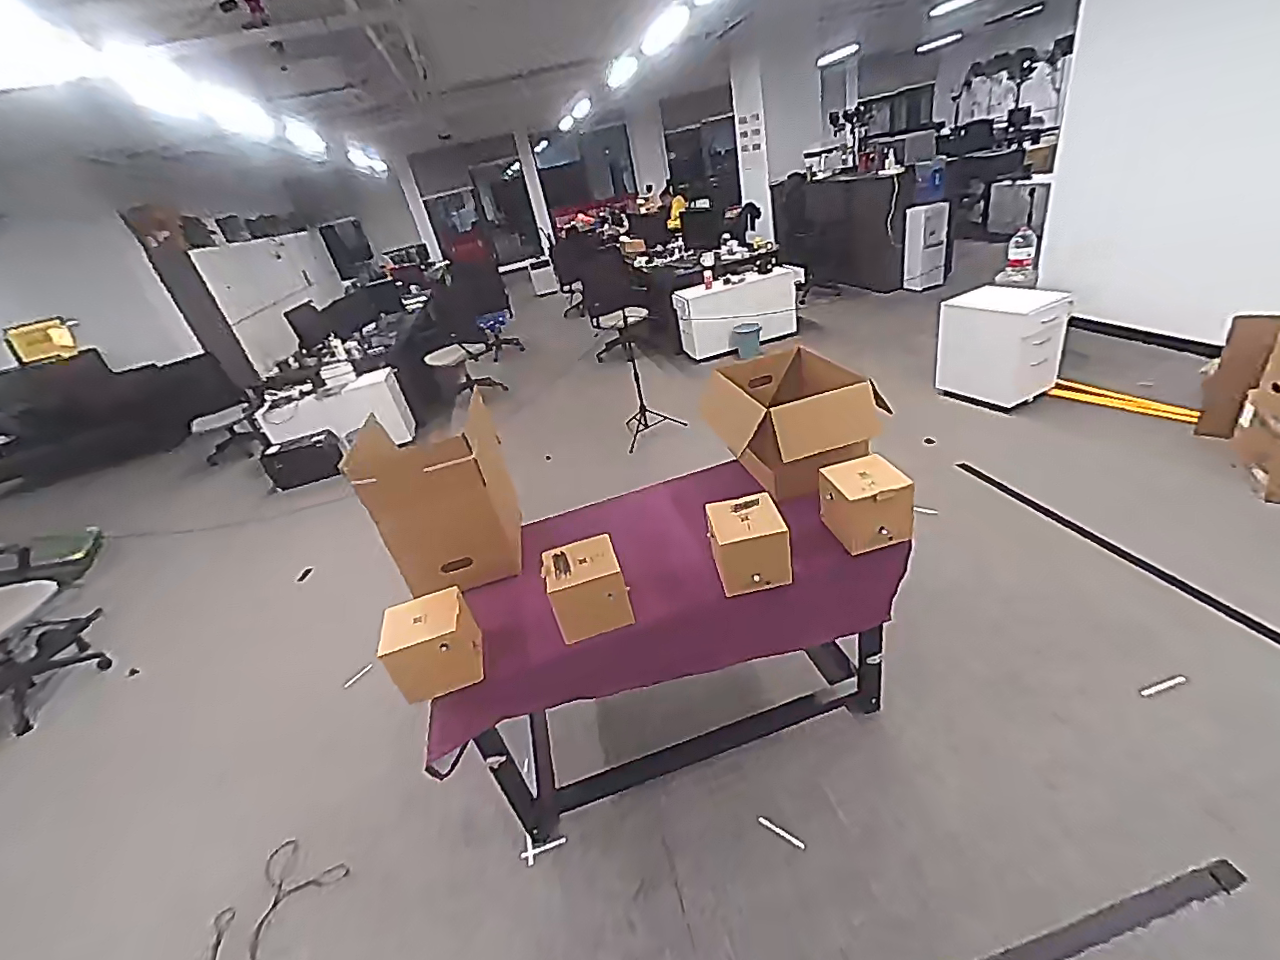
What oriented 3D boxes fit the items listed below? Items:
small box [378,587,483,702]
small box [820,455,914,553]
[{"bbox_3d":[-0.483,0.387,1.270,0.179,0.176,0.168,-17,29,-9],"label":"small box"},{"bbox_3d":[0.580,0.061,1.398,0.168,0.176,0.179,-15,29,-1],"label":"small box"}]
